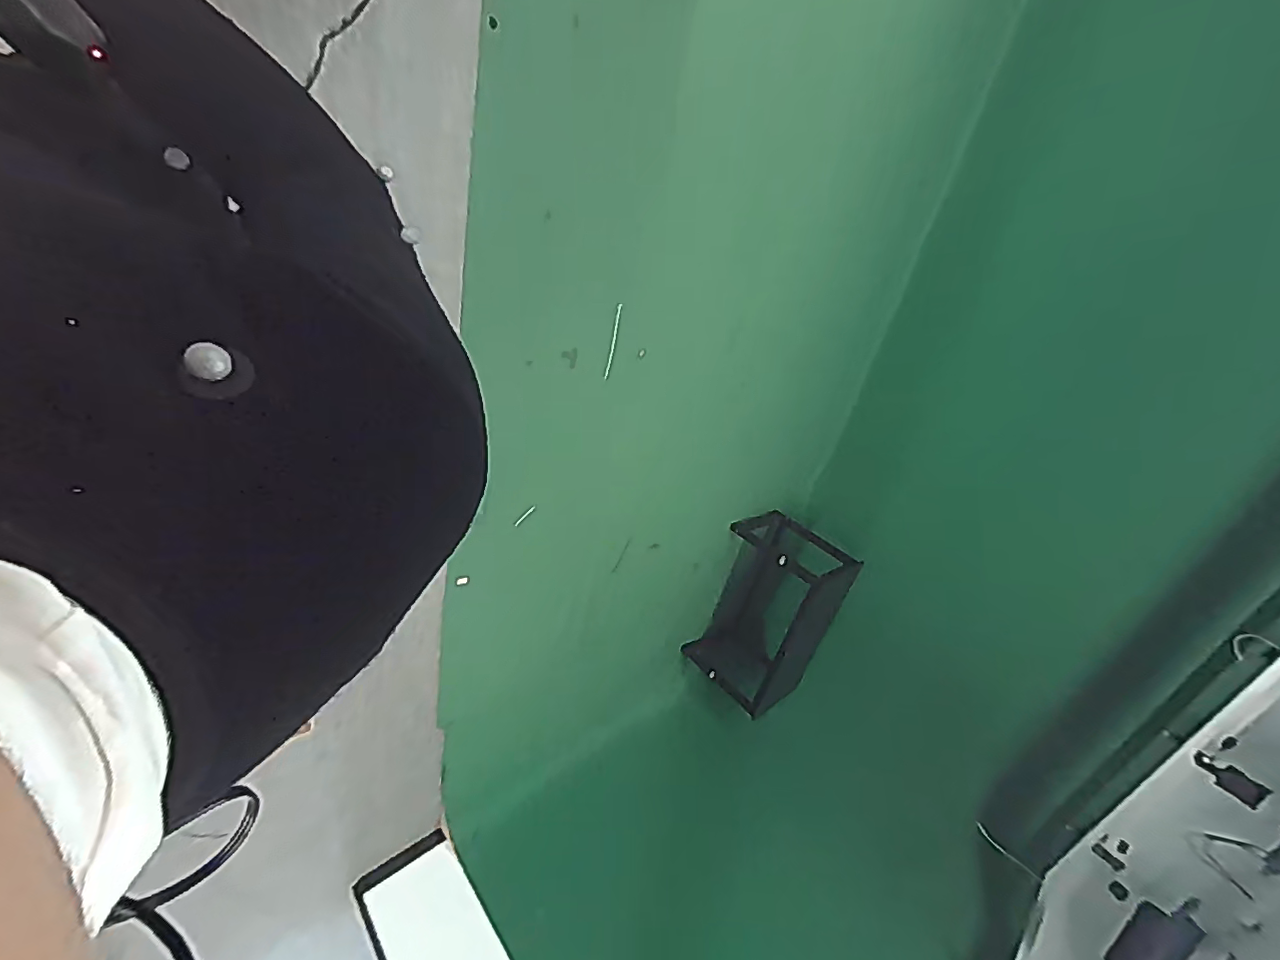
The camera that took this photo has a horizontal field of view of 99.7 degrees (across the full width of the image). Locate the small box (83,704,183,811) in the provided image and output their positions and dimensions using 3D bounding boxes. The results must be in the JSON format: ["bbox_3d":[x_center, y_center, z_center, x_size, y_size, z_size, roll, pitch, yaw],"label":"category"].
[{"bbox_3d":[-1.451,0.786,1.548,0.179,0.176,0.168,-18,130,-39],"label":"small box"}]
